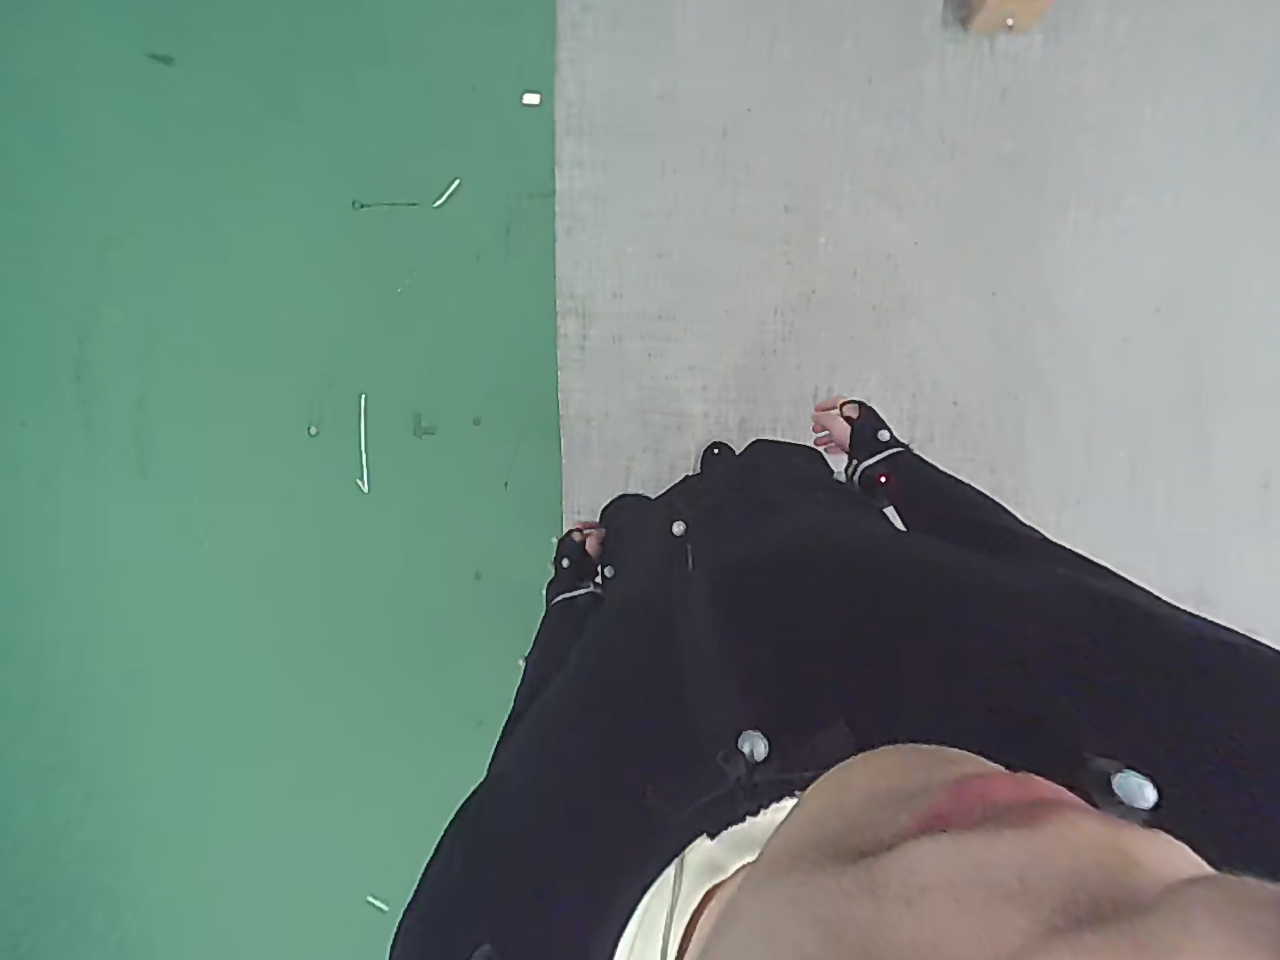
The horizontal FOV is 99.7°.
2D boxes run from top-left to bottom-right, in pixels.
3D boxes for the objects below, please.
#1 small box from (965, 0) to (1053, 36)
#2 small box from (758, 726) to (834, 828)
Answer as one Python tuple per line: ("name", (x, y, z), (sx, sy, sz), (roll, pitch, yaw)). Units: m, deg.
("small box", (0.946, -1.266, 1.347), (0.168, 0.176, 0.179), (13, 98, 8))
("small box", (0.400, 0.765, 1.406), (0.168, 0.176, 0.179), (-1, 94, 6))
